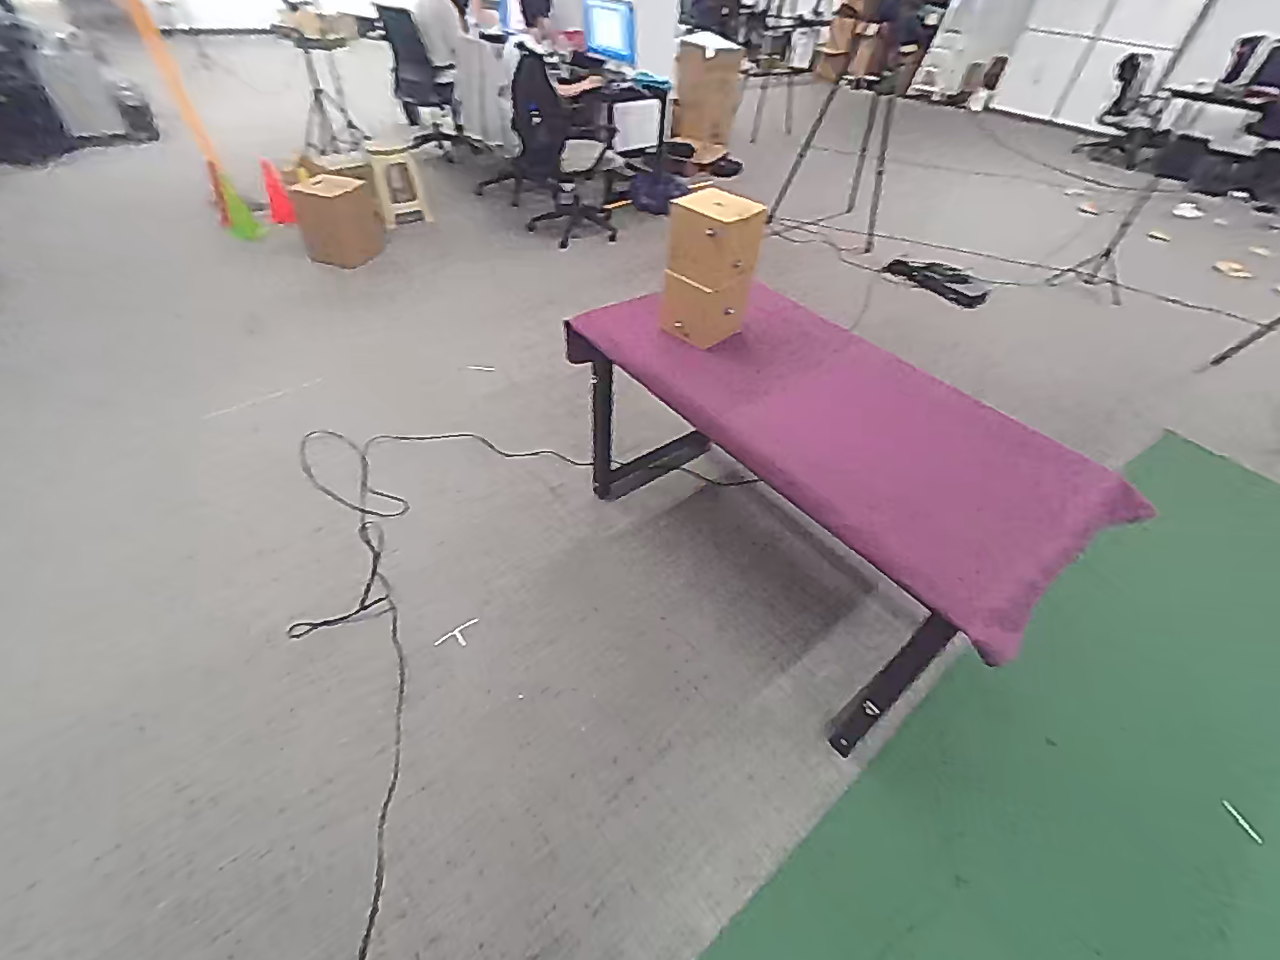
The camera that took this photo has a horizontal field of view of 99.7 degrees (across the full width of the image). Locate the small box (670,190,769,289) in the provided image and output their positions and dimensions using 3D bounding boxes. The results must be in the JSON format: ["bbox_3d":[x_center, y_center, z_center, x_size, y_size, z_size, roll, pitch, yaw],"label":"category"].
[{"bbox_3d":[0.191,-0.602,1.352,0.179,0.176,0.168,36,53,28],"label":"small box"}]
